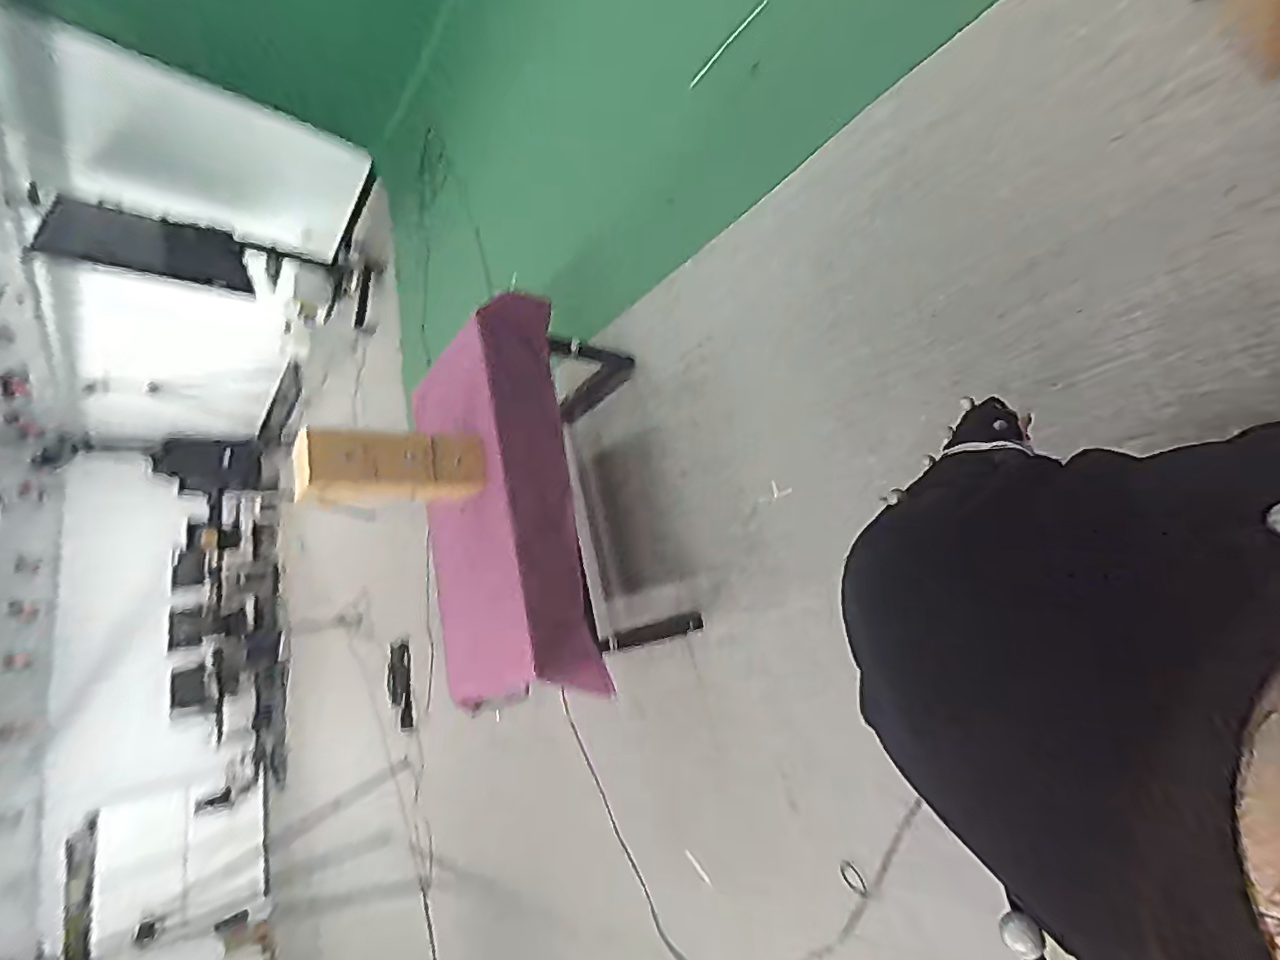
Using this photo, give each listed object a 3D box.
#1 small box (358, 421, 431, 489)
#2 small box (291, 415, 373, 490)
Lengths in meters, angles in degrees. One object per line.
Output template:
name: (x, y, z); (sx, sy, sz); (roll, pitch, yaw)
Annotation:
small box: (-0.744, -0.072, 1.637); (0.179, 0.176, 0.168); (-20, 74, 44)
small box: (-0.864, -0.073, 1.523); (0.179, 0.176, 0.168); (-22, 73, 45)
